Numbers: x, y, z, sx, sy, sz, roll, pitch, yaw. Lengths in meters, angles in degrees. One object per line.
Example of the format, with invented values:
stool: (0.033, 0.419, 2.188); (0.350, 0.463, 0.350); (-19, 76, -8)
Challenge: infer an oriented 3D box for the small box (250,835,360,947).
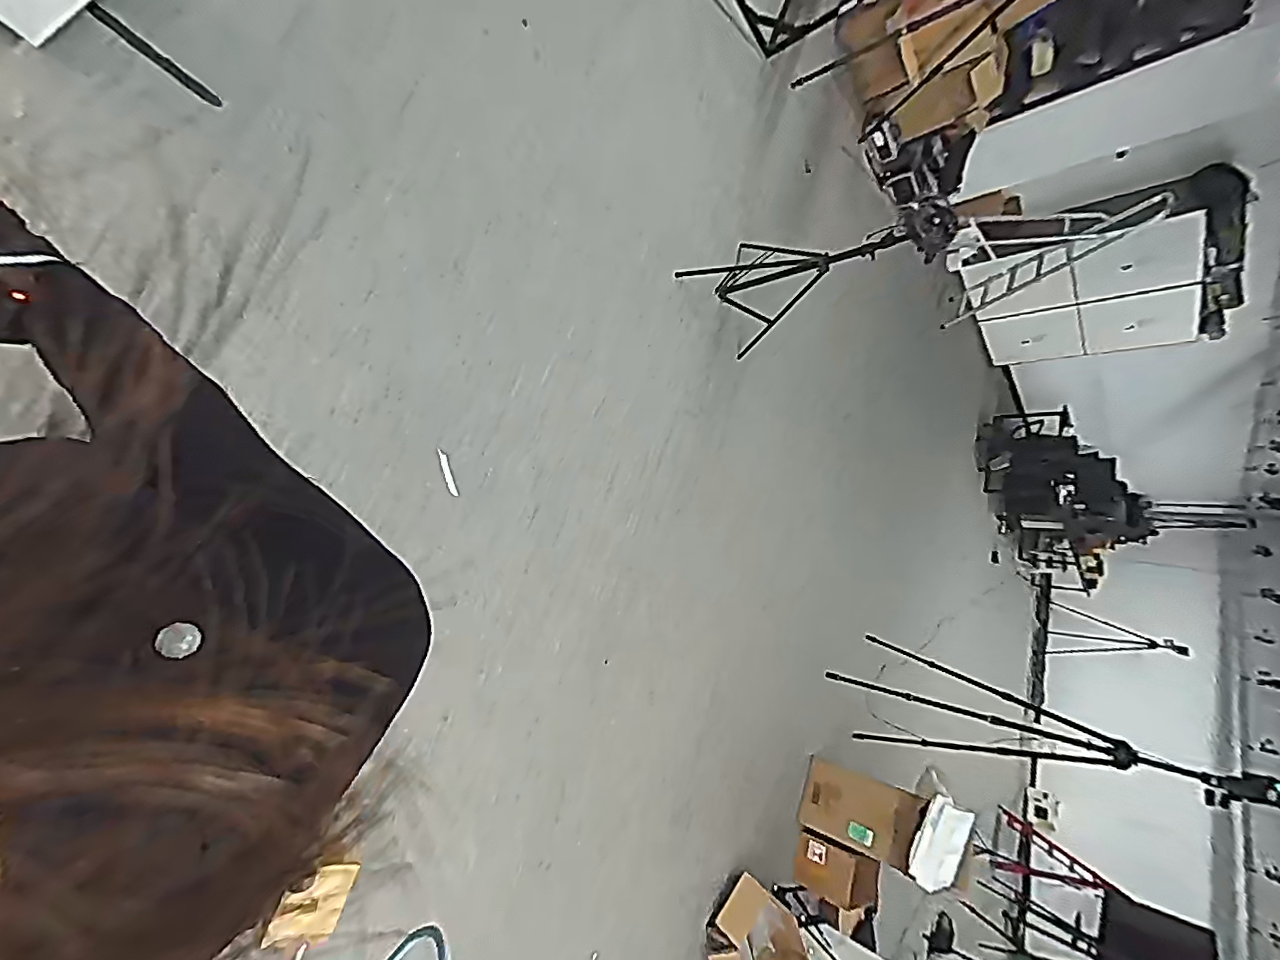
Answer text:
small box: (-0.865, 1.042, 1.389); (0.168, 0.176, 0.179); (34, 68, -40)
